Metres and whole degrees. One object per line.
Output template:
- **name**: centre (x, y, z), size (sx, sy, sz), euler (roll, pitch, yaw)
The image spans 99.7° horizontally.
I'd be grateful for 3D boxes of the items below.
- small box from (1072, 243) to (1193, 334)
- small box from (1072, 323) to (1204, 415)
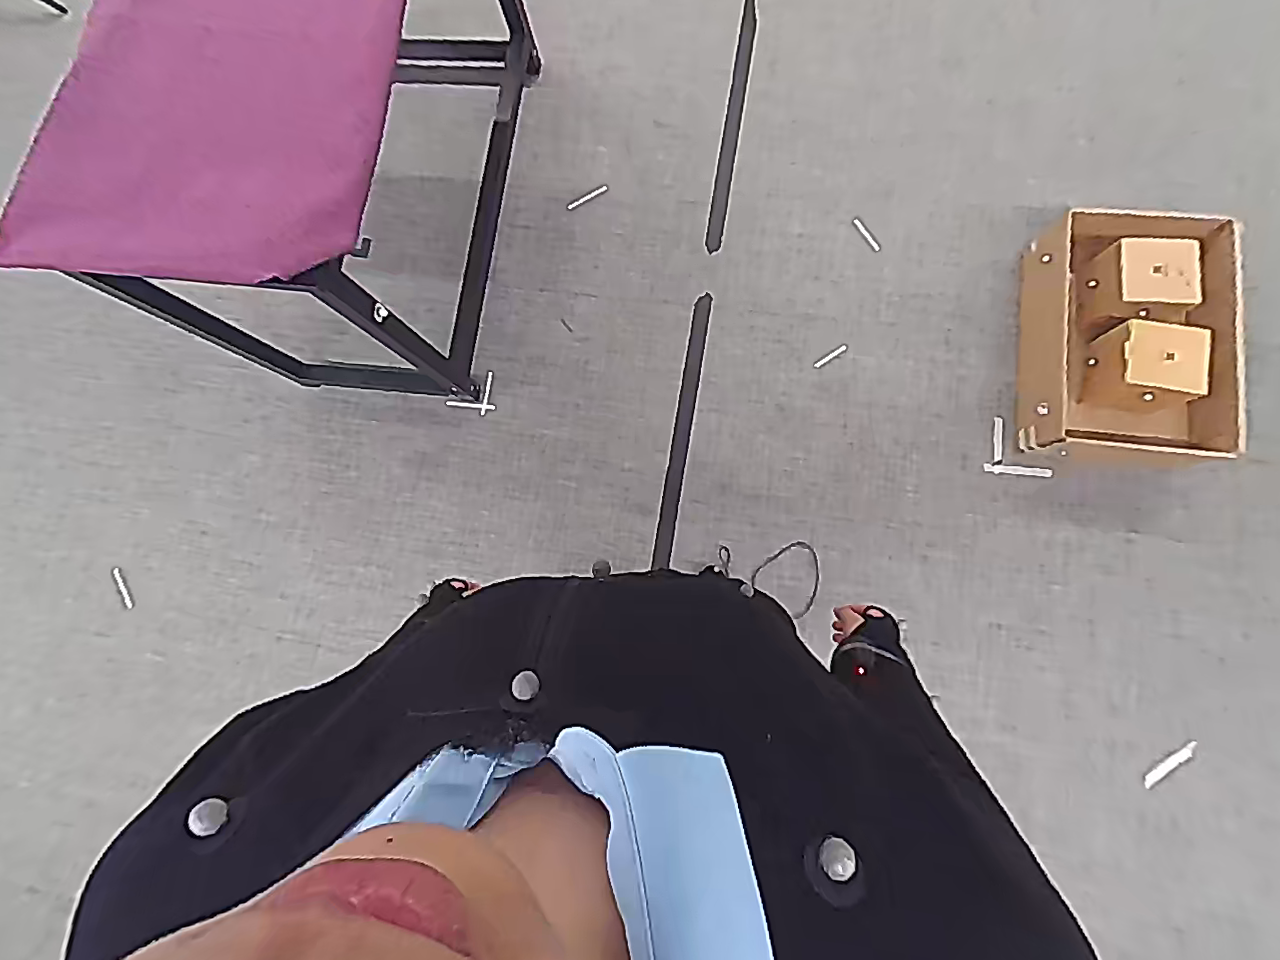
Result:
- **small box**: centre (1.258, -0.488, 1.394), size (0.179, 0.176, 0.168), euler (5, 83, 6)
- **small box**: centre (1.248, -0.272, 1.364), size (0.179, 0.176, 0.168), euler (12, 82, 7)
